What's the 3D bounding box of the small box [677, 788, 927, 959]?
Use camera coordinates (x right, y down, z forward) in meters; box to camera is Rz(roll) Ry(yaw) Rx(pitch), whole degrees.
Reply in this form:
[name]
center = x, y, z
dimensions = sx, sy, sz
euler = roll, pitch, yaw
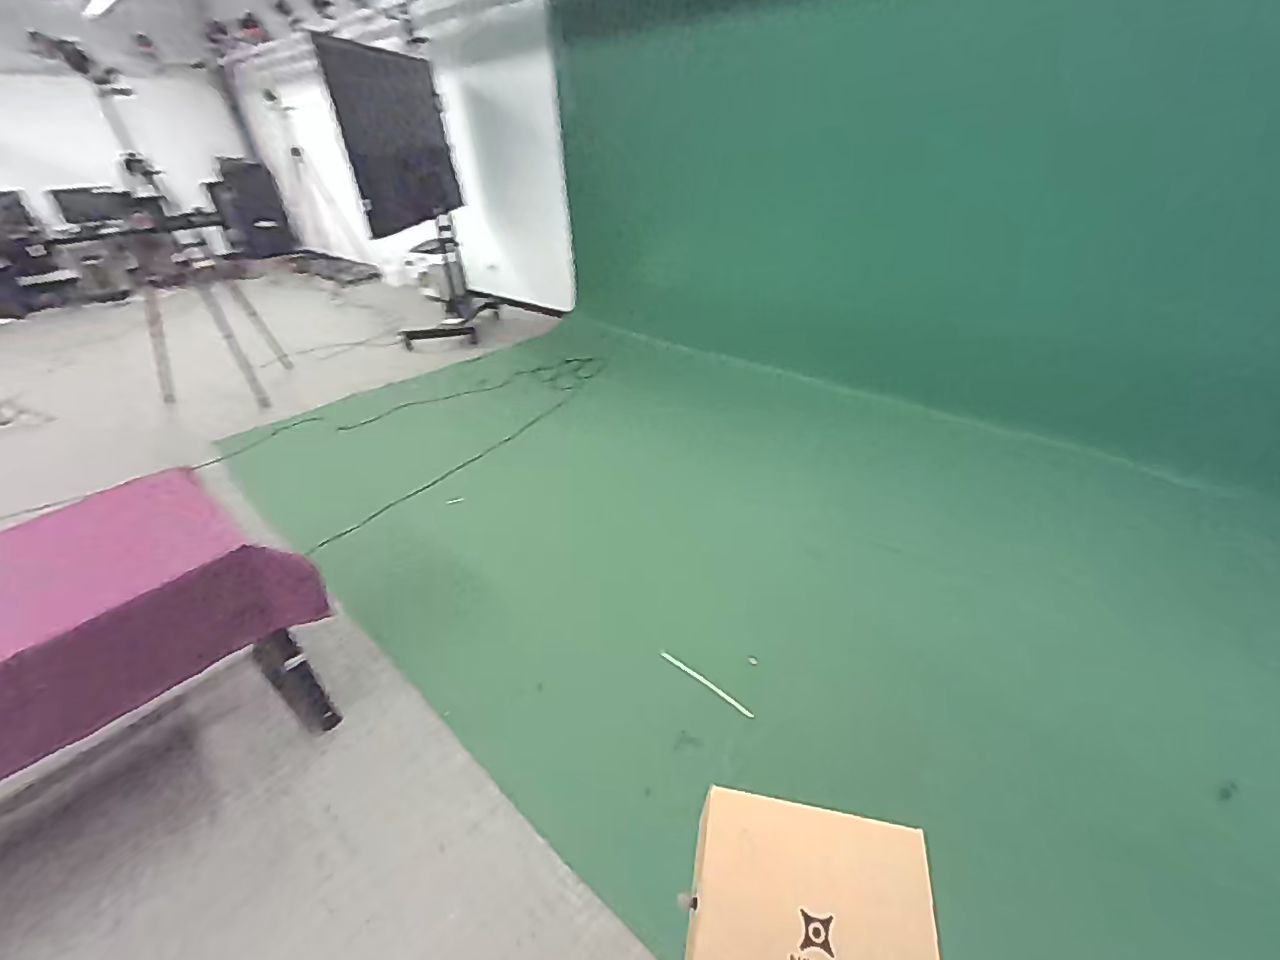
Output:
[small box]
center = 0.116, 0.377, 0.434
dimensions = 0.168, 0.176, 0.179
euler = 7, 50, 9
